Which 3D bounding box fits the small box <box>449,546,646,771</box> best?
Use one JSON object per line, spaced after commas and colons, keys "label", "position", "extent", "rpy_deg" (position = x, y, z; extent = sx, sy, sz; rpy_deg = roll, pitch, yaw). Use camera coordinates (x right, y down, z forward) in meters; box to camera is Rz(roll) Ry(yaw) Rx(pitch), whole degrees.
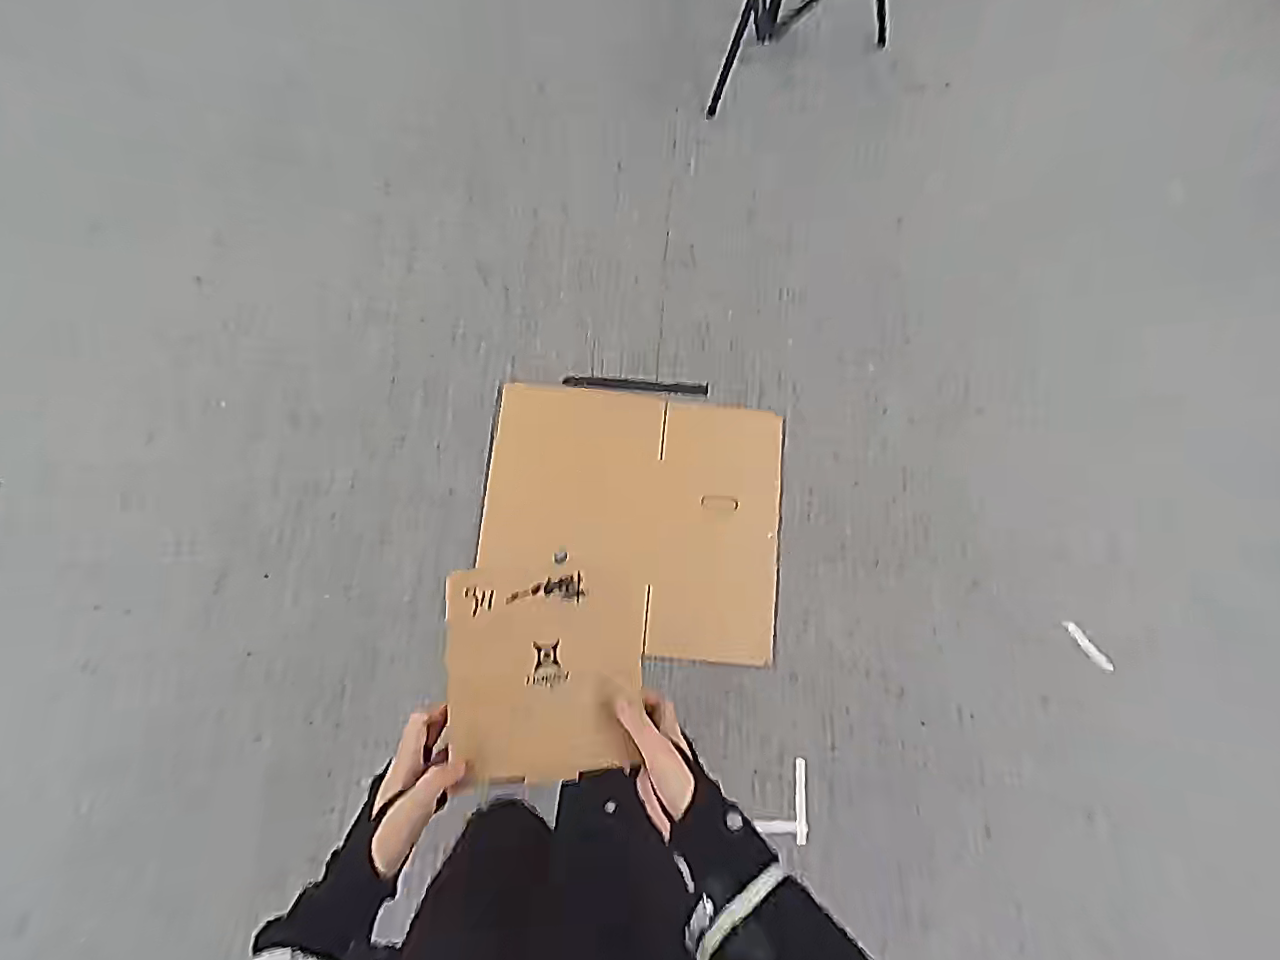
{"label": "small box", "position": [-0.092, 0.164, 0.544], "extent": [0.168, 0.176, 0.179], "rpy_deg": [-3, 78, -10]}
